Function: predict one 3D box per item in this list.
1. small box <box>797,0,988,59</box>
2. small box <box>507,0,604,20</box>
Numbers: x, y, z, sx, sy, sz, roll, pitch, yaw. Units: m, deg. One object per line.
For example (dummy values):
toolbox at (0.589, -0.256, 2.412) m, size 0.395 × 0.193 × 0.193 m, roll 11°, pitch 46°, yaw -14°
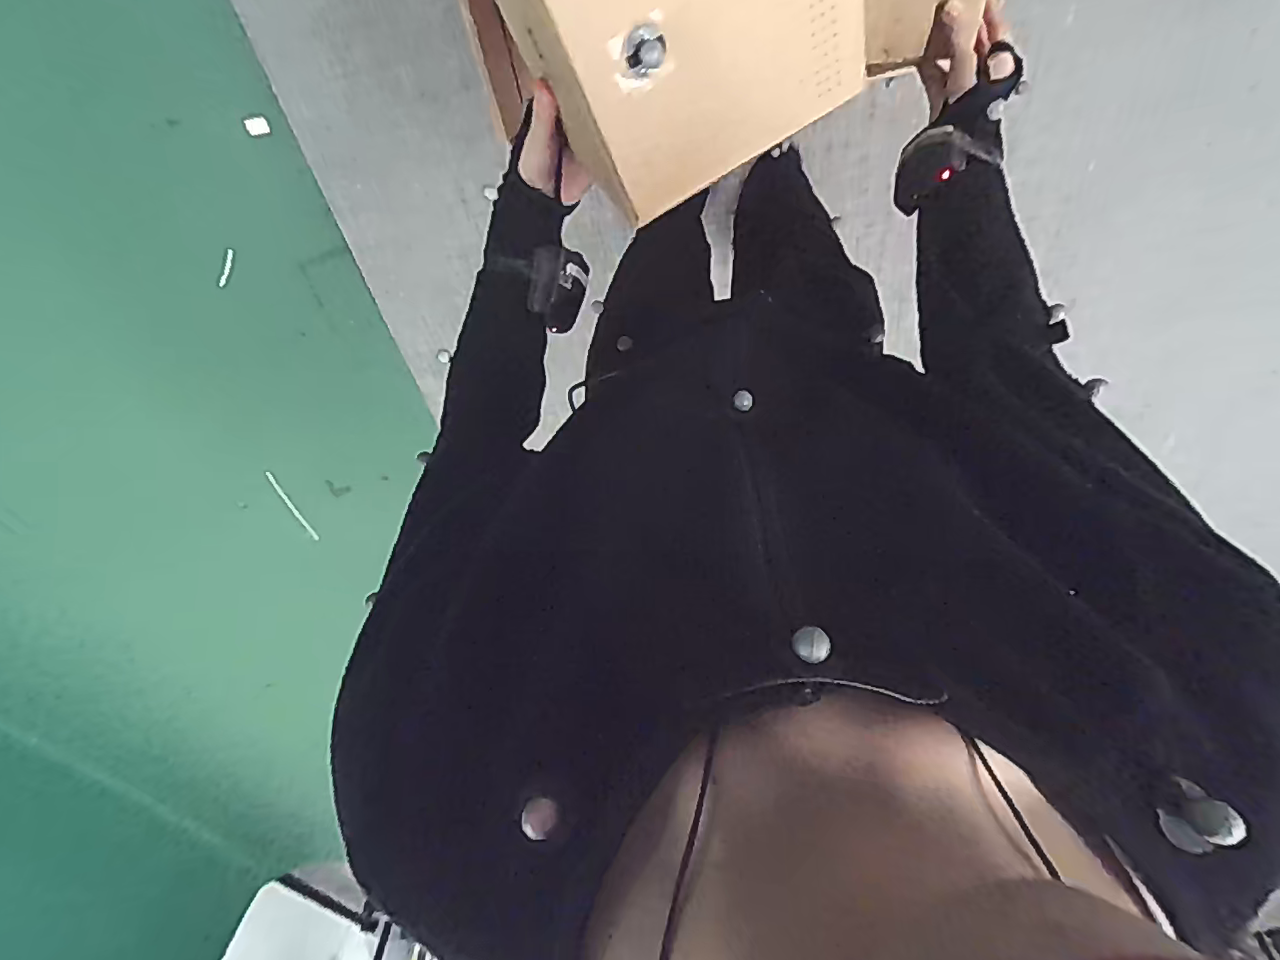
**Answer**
small box at (0.251, -0.530, 0.520) m, size 0.168 × 0.176 × 0.179 m, roll 9°, pitch 137°, yaw 15°
small box at (-0.052, -0.545, 0.483) m, size 0.168 × 0.176 × 0.179 m, roll -9°, pitch 128°, yaw 10°
